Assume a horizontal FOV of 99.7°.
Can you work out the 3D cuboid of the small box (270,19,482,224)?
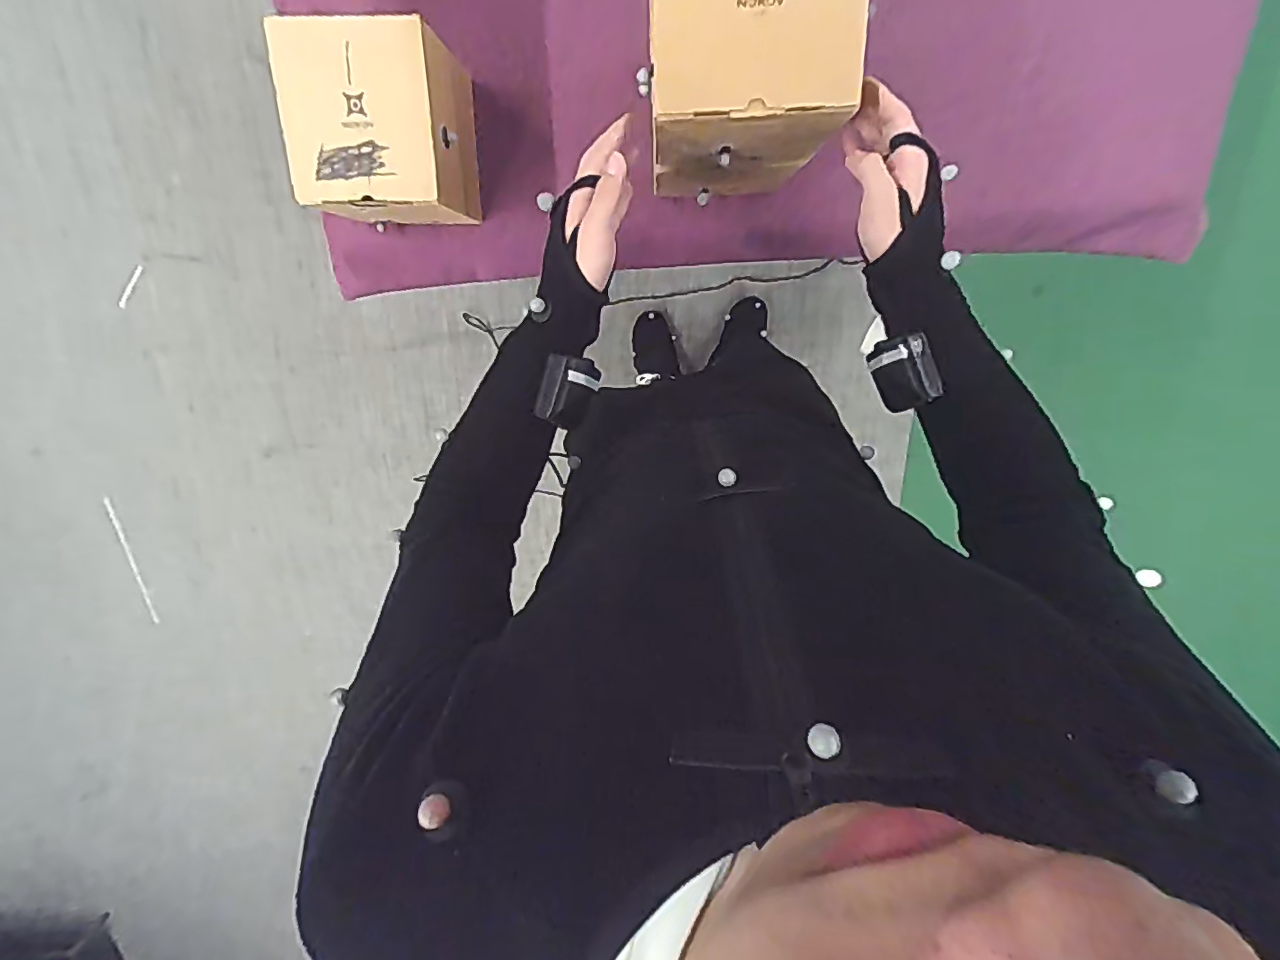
[{"bbox_3d":[-0.299,-0.416,0.657,0.168,0.176,0.179,1,108,1],"label":"small box"}]

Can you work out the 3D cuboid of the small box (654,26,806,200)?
[{"bbox_3d":[0.100,-0.445,0.641,0.168,0.176,0.179,-1,109,2],"label":"small box"}]

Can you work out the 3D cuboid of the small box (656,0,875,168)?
[{"bbox_3d":[0.099,-0.398,0.486,0.168,0.176,0.179,-1,110,2],"label":"small box"}]

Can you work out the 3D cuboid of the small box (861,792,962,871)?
[{"bbox_3d":[0.799,1.078,1.611,0.179,0.176,0.168,32,107,-8],"label":"small box"}]
